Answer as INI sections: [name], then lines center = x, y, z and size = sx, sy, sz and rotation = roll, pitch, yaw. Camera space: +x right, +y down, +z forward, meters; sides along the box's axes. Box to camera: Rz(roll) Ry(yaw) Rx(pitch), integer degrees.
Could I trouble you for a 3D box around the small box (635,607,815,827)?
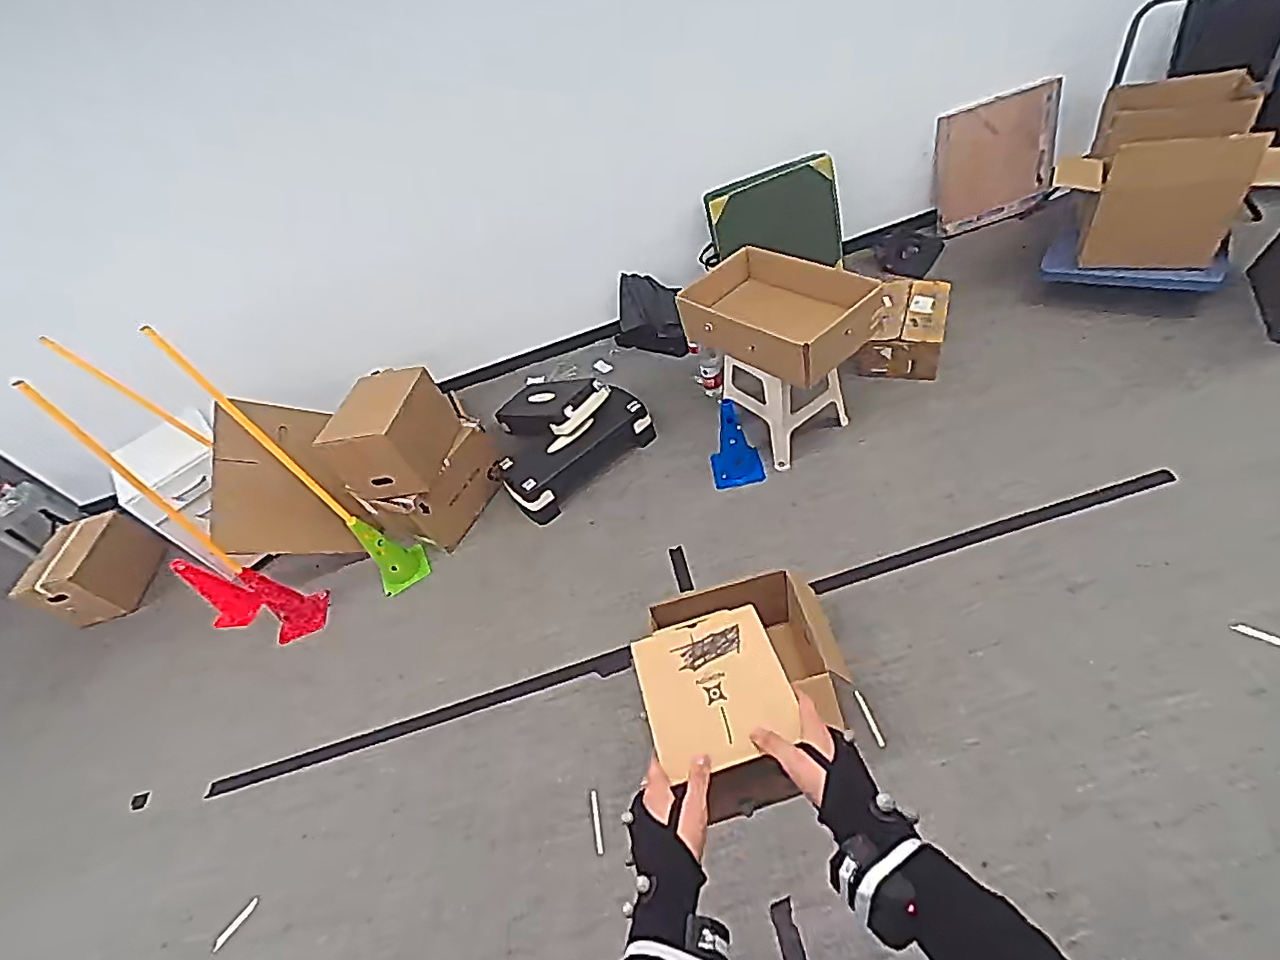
[small box]
center = 0.104, 0.296, 0.679
size = 0.168, 0.176, 0.179
rotation = -18, 42, -2
